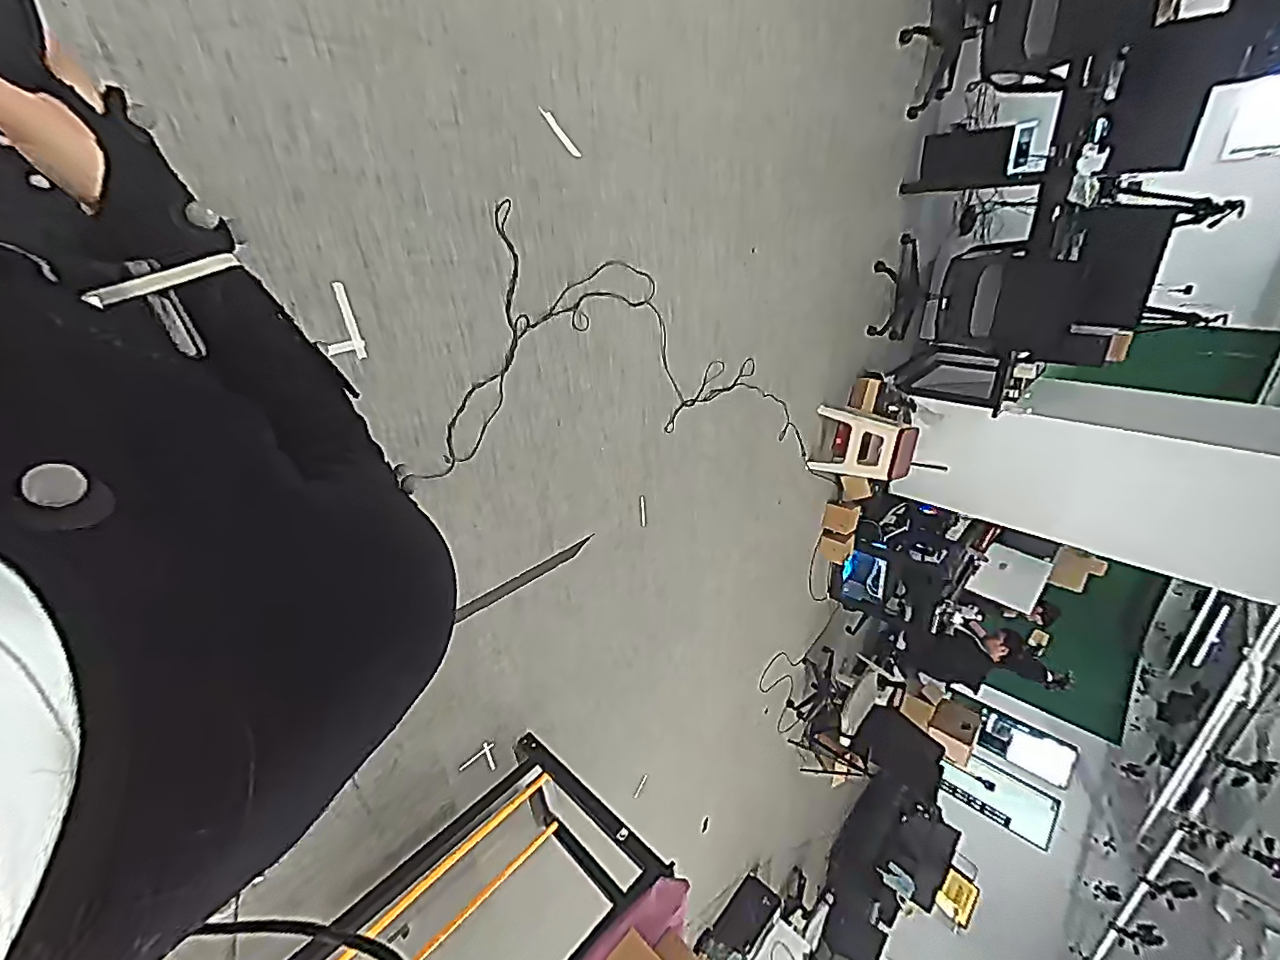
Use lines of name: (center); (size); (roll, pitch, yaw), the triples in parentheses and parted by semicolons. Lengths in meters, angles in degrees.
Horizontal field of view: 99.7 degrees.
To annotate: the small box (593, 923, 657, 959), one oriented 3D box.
small box: (-0.039, 1.372, 1.469); (0.179, 0.176, 0.168); (-30, 128, -36)
